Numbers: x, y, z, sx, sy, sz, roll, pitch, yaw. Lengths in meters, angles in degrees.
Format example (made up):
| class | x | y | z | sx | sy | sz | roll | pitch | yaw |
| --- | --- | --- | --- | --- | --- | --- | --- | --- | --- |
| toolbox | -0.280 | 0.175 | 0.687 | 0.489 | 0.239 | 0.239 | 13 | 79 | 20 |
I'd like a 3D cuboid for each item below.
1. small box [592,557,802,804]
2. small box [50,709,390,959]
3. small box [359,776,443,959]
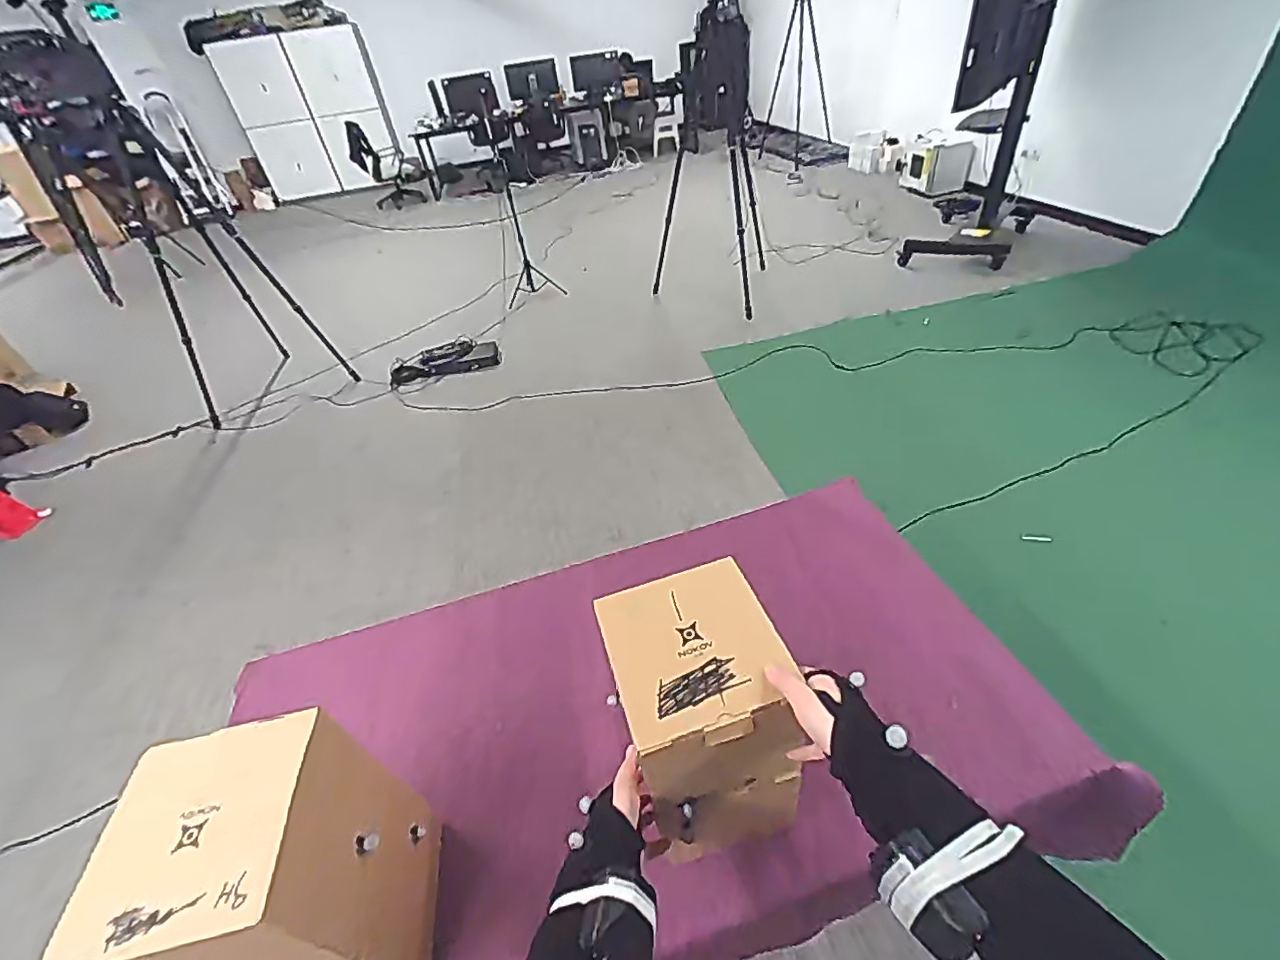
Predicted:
| class | x | y | z | sx | sy | sz | roll | pitch | yaw |
| --- | --- | --- | --- | --- | --- | --- | --- | --- | --- |
| small box | 0.060 | 0.221 | 0.589 | 0.168 | 0.176 | 0.179 | -17 | 39 | -8 |
| small box | -0.363 | 0.358 | 0.517 | 0.168 | 0.176 | 0.179 | -14 | 40 | -3 |
| small box | -0.340 | 0.481 | 0.624 | 0.168 | 0.176 | 0.179 | -13 | 41 | -3 |
